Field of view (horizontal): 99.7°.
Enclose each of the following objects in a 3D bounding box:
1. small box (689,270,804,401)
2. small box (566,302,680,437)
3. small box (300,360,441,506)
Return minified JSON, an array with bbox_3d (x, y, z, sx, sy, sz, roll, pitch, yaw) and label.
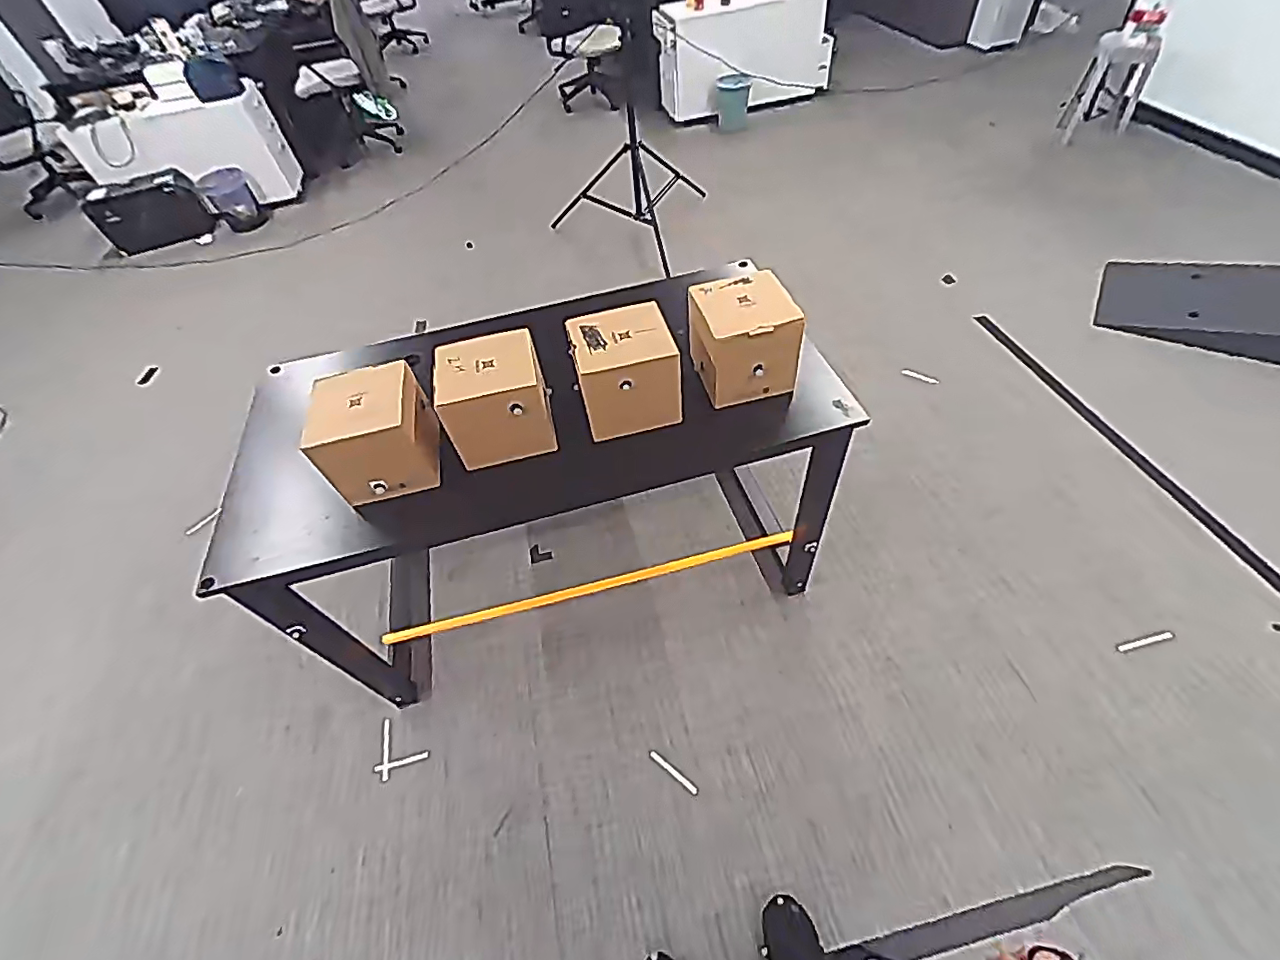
[{"bbox_3d":[0.196,-0.270,1.040,0.168,0.176,0.179,-13,52,-4],"label":"small box"},{"bbox_3d":[-0.029,-0.202,1.014,0.179,0.176,0.168,-13,51,-5],"label":"small box"},{"bbox_3d":[-0.472,-0.082,0.974,0.168,0.176,0.179,-15,52,-4],"label":"small box"}]
